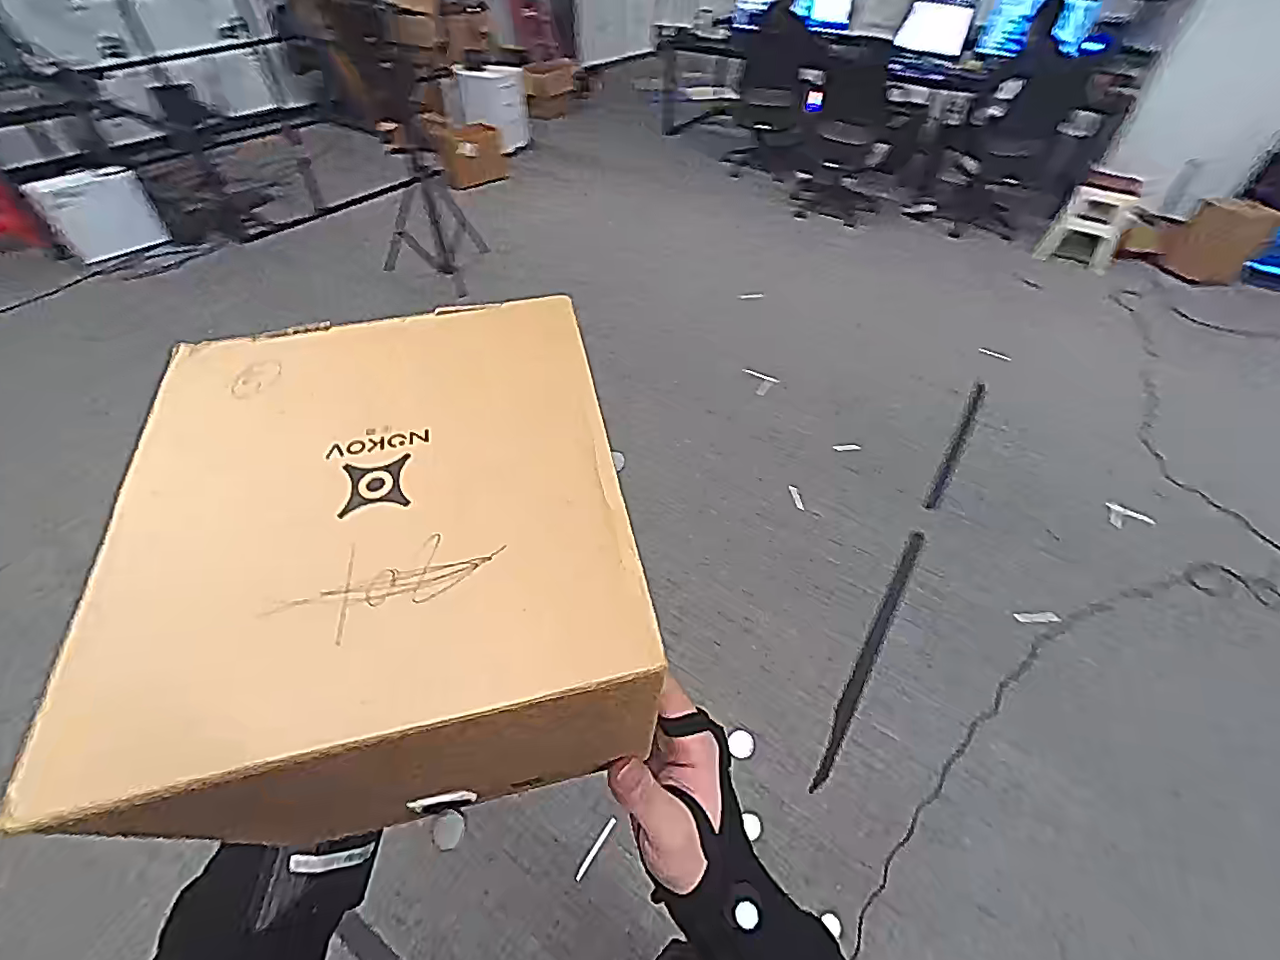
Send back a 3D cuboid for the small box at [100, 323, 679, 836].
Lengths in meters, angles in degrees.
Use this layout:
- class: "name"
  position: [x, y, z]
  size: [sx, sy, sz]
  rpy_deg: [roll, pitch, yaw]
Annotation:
- class: "small box"
  position: [-0.087, 0.053, 0.268]
  size: [0.168, 0.176, 0.179]
  rpy_deg: [-12, 56, -8]
